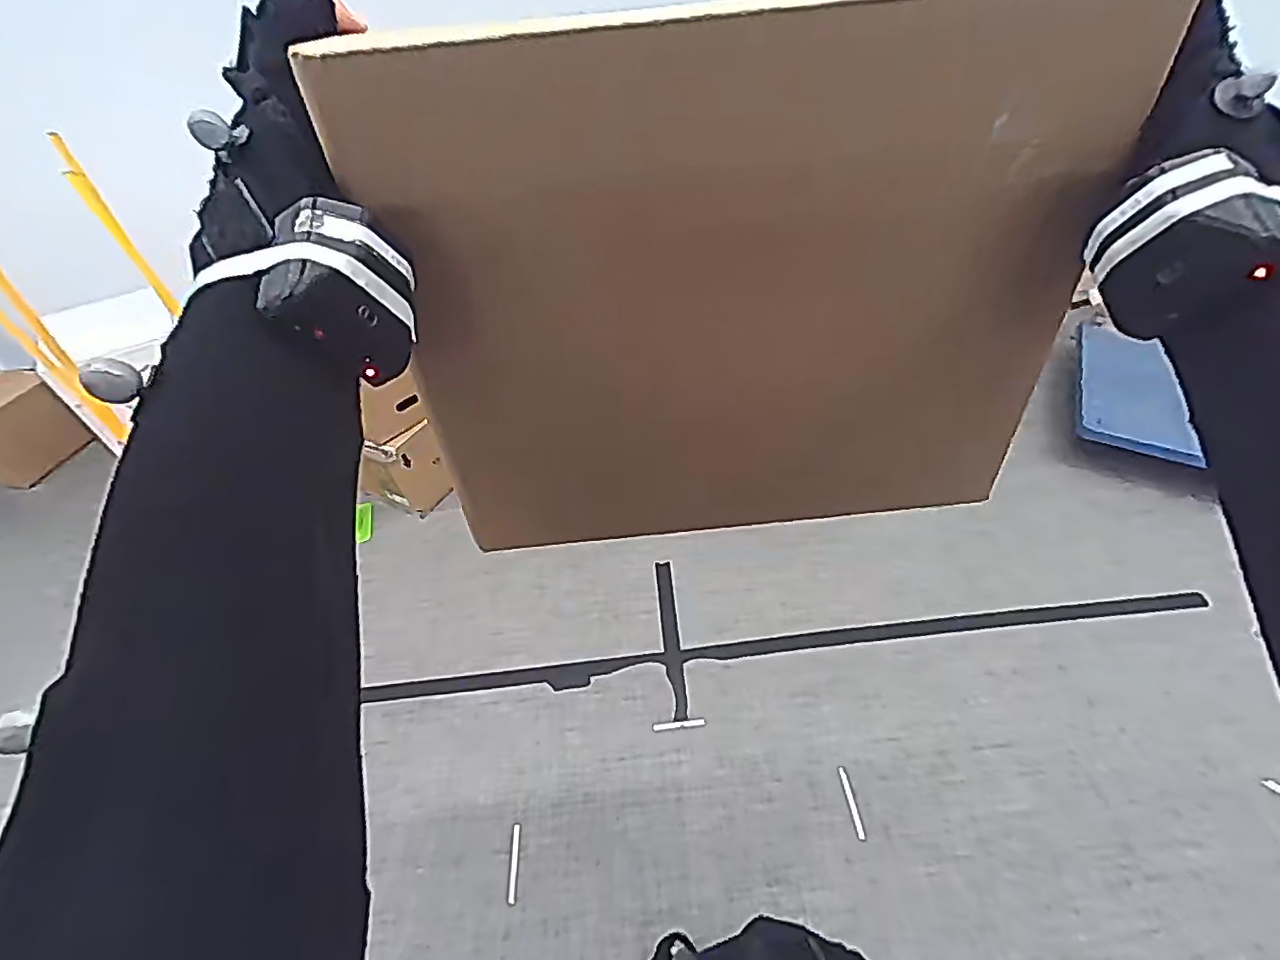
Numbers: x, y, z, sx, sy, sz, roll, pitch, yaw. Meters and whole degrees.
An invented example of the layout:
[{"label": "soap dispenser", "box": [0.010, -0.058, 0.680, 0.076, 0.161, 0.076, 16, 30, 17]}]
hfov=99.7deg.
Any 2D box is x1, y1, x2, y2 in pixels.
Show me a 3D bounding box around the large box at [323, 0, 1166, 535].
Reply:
[{"label": "large box", "box": [0.050, -0.182, 0.453, 0.408, 0.320, 0.320, -5, 39, -1]}]
